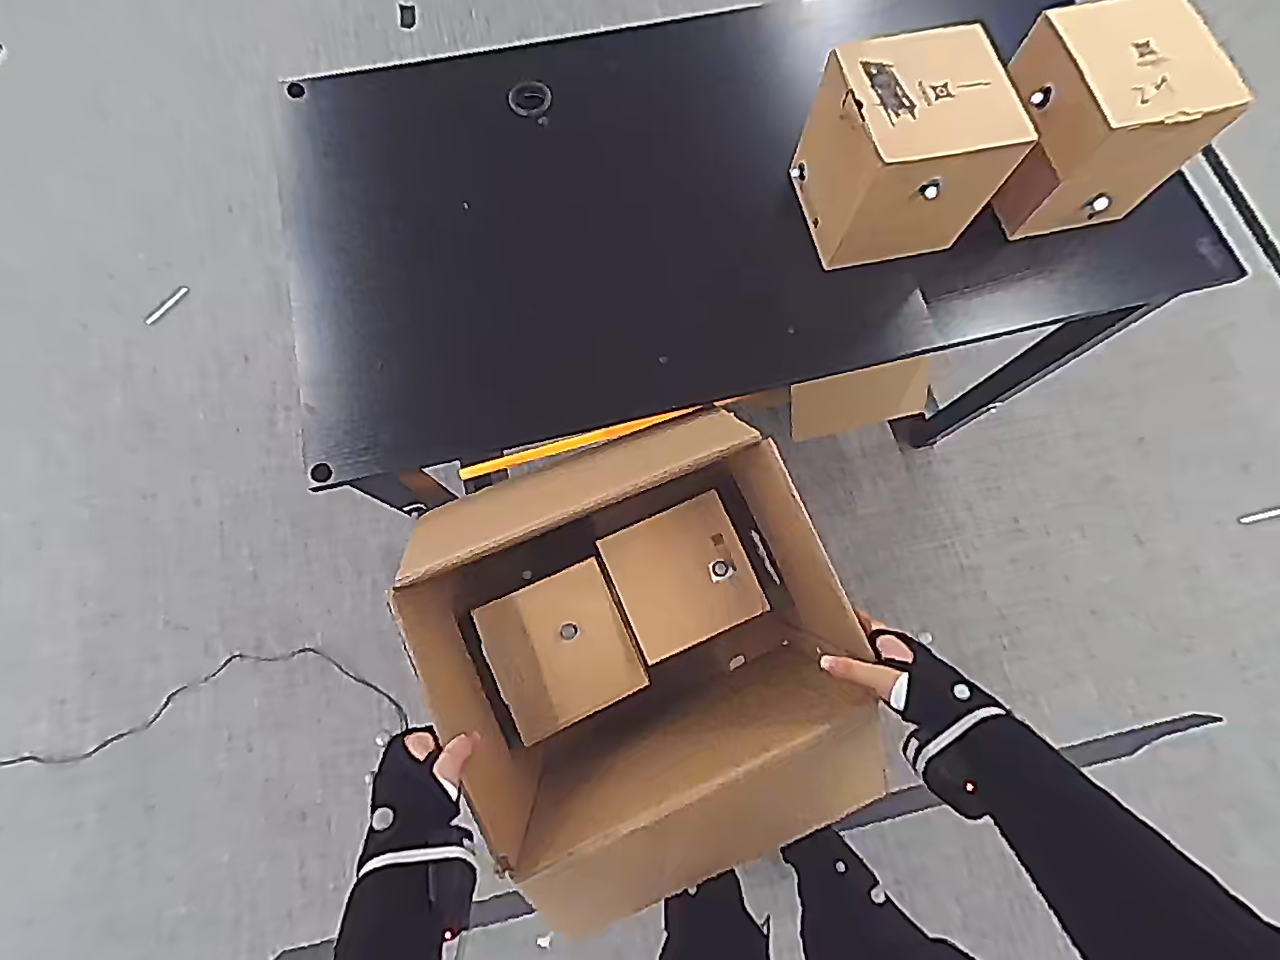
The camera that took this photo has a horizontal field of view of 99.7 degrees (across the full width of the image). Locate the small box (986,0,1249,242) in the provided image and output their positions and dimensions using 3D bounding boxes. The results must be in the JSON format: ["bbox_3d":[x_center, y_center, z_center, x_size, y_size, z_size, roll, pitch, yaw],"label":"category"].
[{"bbox_3d":[0.545,-0.430,0.663,0.168,0.176,0.179,-12,75,-3],"label":"small box"}]

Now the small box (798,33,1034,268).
[{"bbox_3d":[0.305,-0.379,0.647,0.179,0.176,0.168,-11,75,-5],"label":"small box"}]
